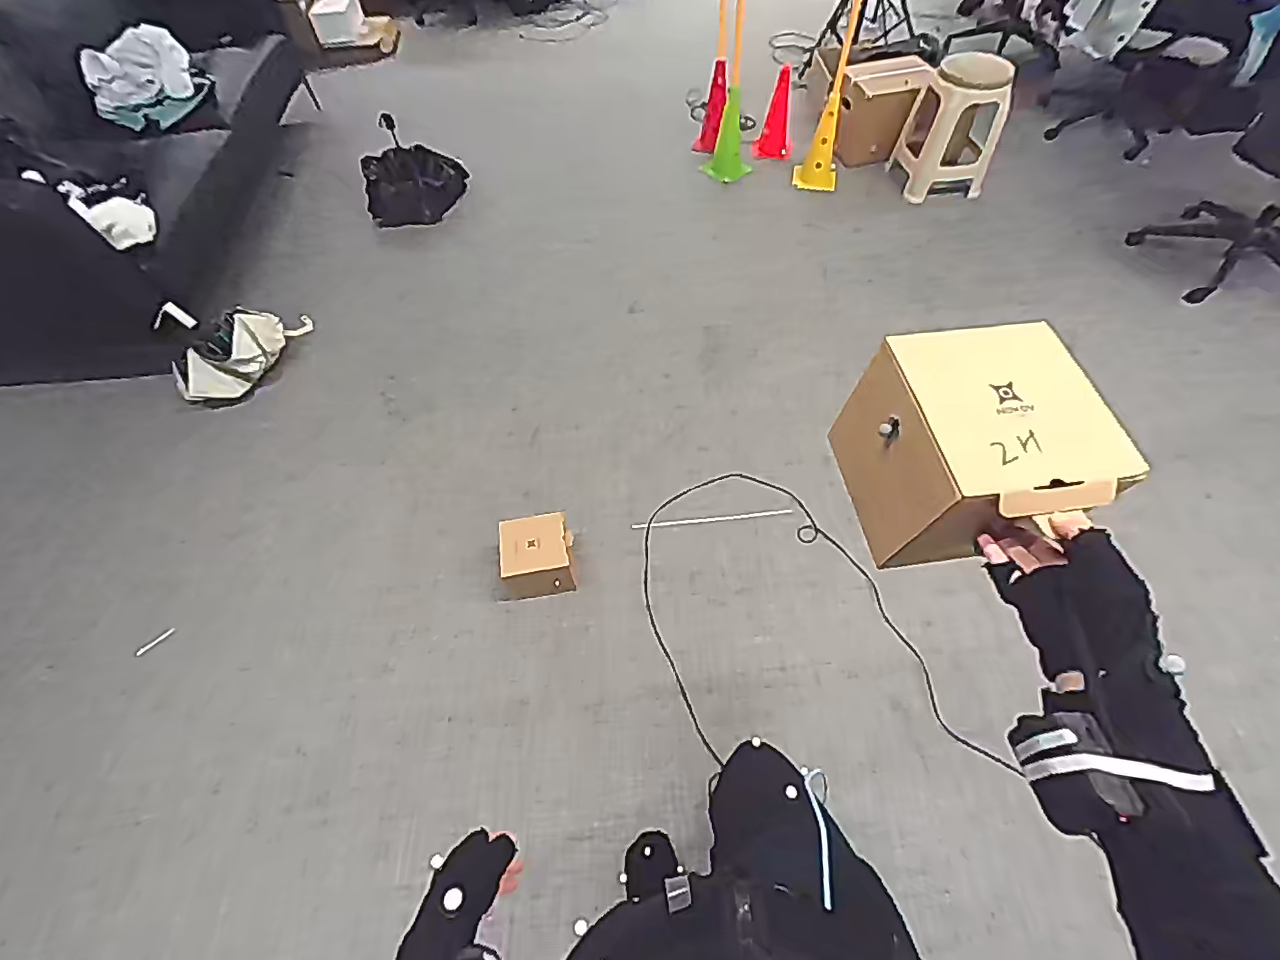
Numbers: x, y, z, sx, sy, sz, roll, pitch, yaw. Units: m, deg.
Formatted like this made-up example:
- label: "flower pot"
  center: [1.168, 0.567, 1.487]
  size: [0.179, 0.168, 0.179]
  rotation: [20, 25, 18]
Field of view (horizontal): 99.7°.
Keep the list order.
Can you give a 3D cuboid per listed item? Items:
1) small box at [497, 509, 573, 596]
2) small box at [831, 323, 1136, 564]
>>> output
- label: "small box"
  center: [-0.280, 0.200, 1.466]
  size: [0.179, 0.176, 0.168]
  rotation: [-10, 58, -4]
- label: "small box"
  center: [0.317, -0.032, 0.550]
  size: [0.168, 0.176, 0.179]
  rotation: [-7, 62, -5]
